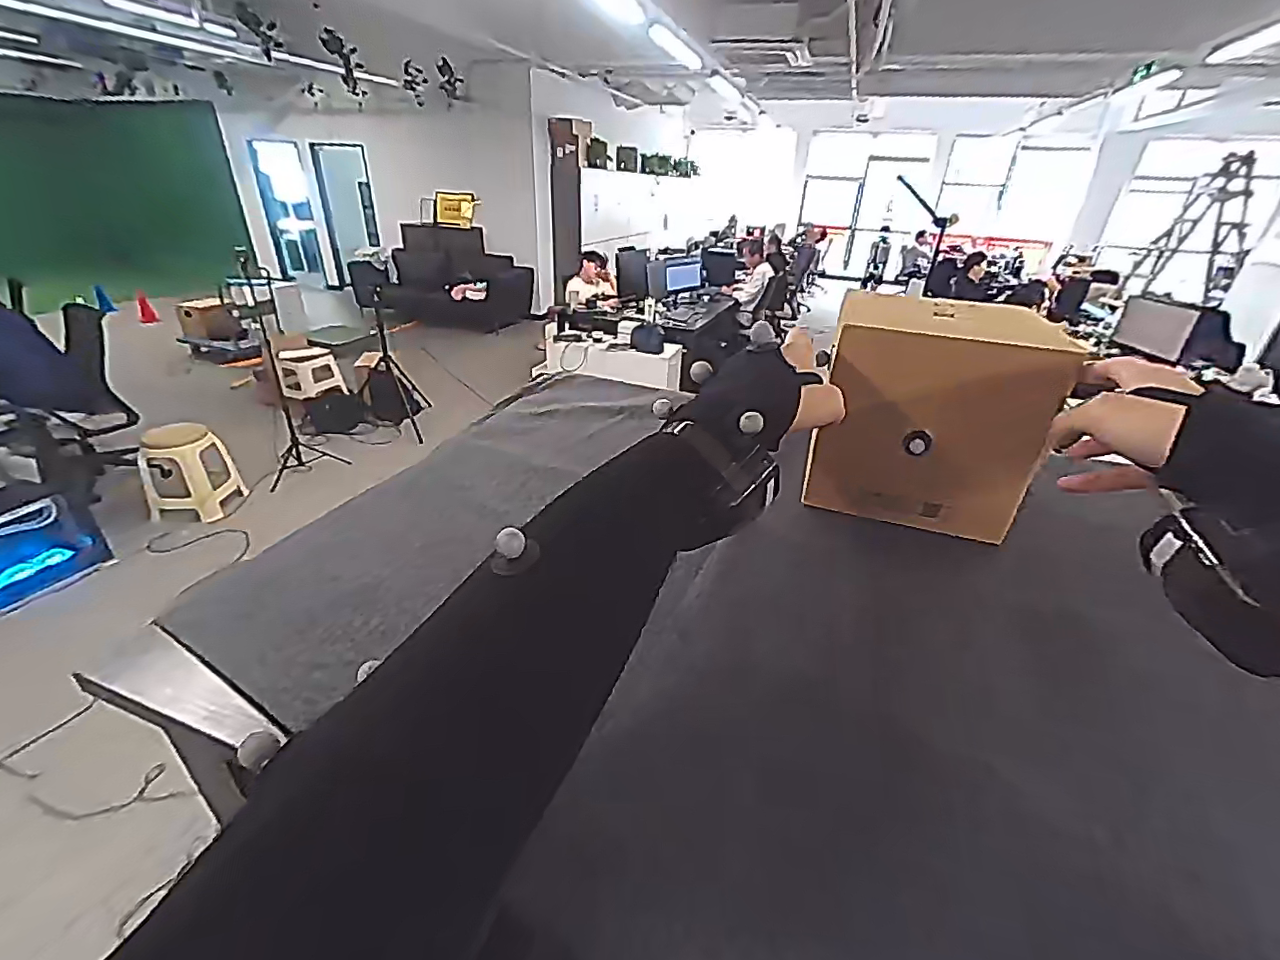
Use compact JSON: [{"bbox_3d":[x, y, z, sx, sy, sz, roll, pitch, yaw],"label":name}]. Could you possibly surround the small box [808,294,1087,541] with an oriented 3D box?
[{"bbox_3d":[0.258,-0.066,0.502,0.168,0.176,0.179,12,30,15],"label":"small box"}]
